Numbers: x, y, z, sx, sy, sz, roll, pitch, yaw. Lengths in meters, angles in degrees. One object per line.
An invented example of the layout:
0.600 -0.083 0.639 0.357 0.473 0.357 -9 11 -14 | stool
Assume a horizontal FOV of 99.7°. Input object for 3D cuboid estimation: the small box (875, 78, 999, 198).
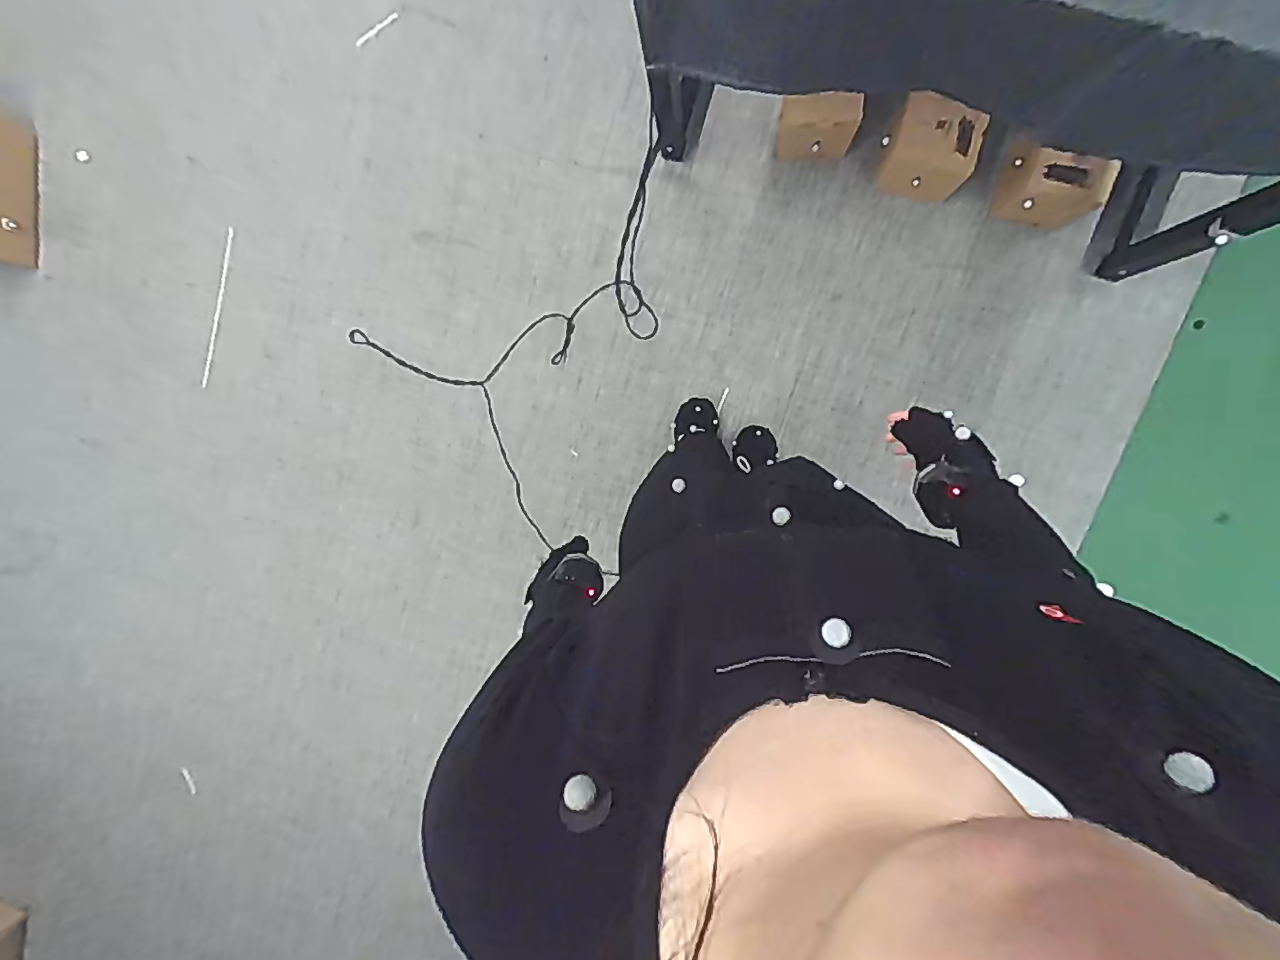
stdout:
0.679 -0.784 1.259 0.179 0.176 0.168 17 98 6 | small box
